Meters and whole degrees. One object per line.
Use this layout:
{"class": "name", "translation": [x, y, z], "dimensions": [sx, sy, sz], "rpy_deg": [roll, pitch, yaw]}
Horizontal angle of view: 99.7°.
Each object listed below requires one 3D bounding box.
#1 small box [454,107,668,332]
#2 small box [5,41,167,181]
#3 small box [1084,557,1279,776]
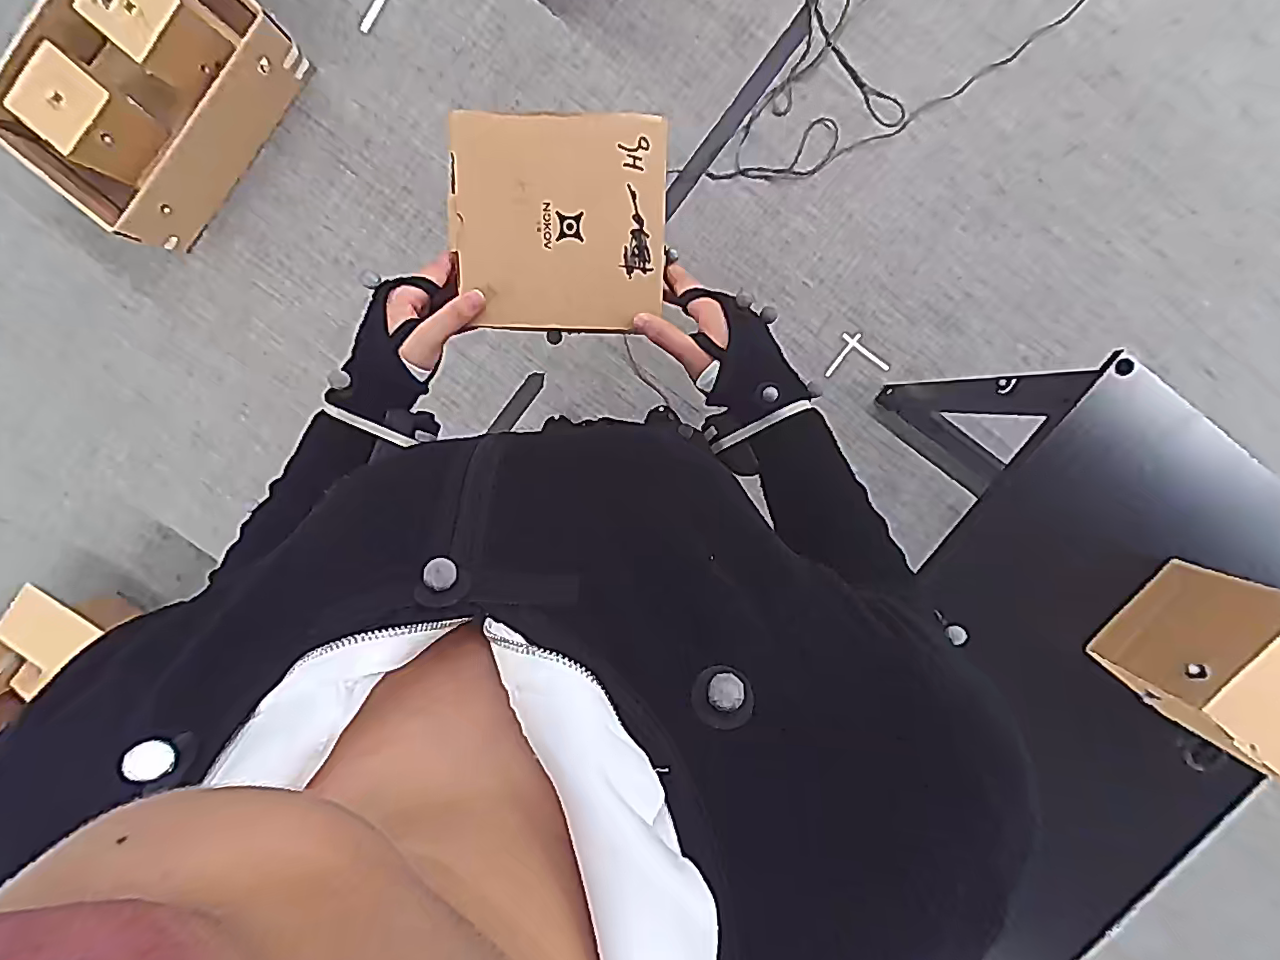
{"class": "small box", "translation": [-0.065, -0.235, 0.529], "dimensions": [0.179, 0.176, 0.168], "rpy_deg": [2, 103, 0]}
{"class": "small box", "translation": [-1.279, -0.846, 1.265], "dimensions": [0.168, 0.176, 0.179], "rpy_deg": [41, 95, -7]}
{"class": "small box", "translation": [0.754, 0.228, 0.709], "dimensions": [0.168, 0.176, 0.179], "rpy_deg": [38, 97, -4]}
